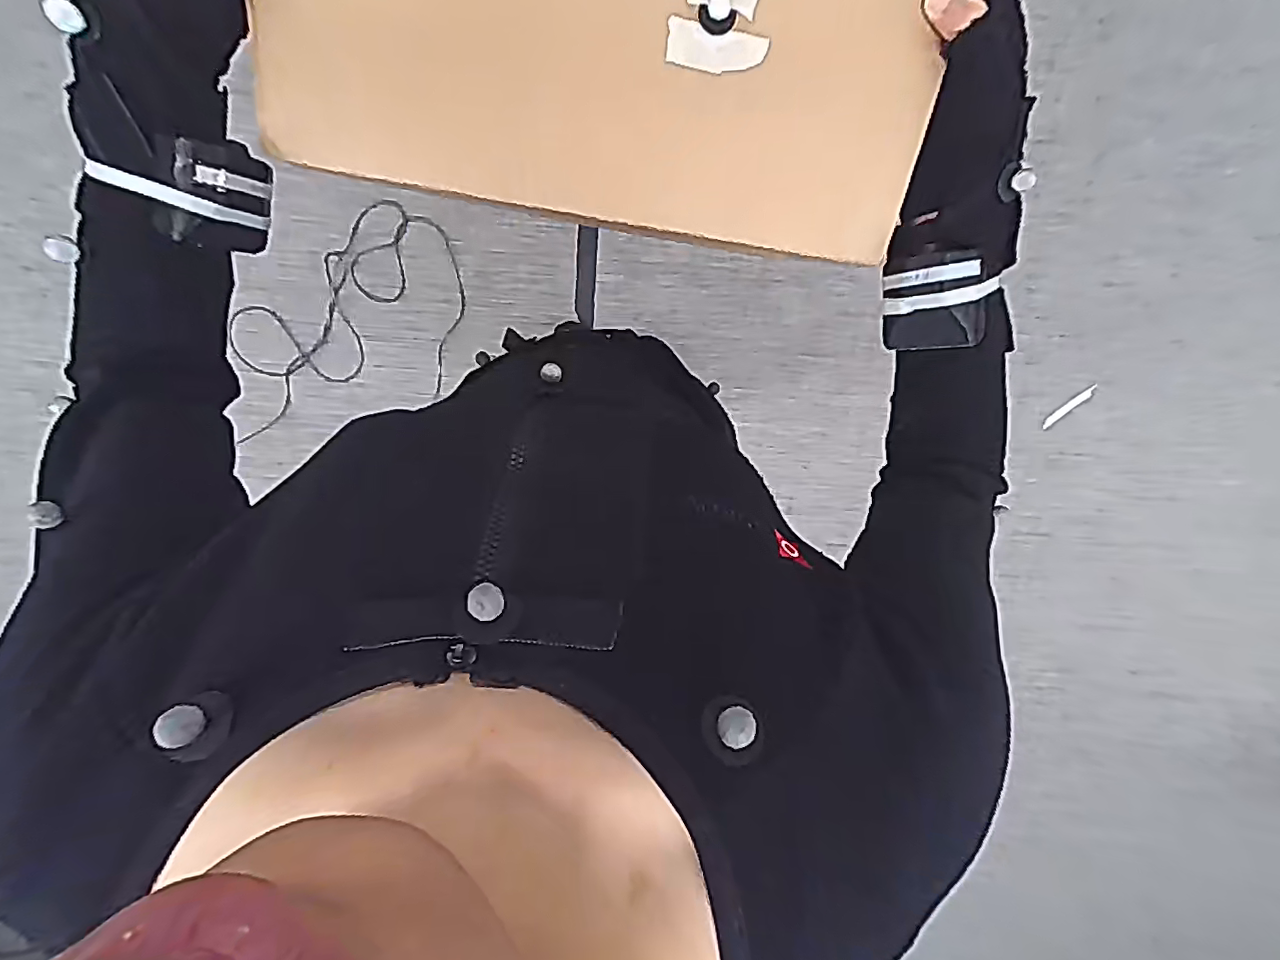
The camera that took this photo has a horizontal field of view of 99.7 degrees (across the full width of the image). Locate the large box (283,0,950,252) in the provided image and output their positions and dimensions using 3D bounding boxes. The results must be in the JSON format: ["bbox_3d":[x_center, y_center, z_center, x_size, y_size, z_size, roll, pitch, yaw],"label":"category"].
[{"bbox_3d":[-0.009,-0.383,0.446,0.408,0.320,0.320,8,113,-3],"label":"large box"}]
